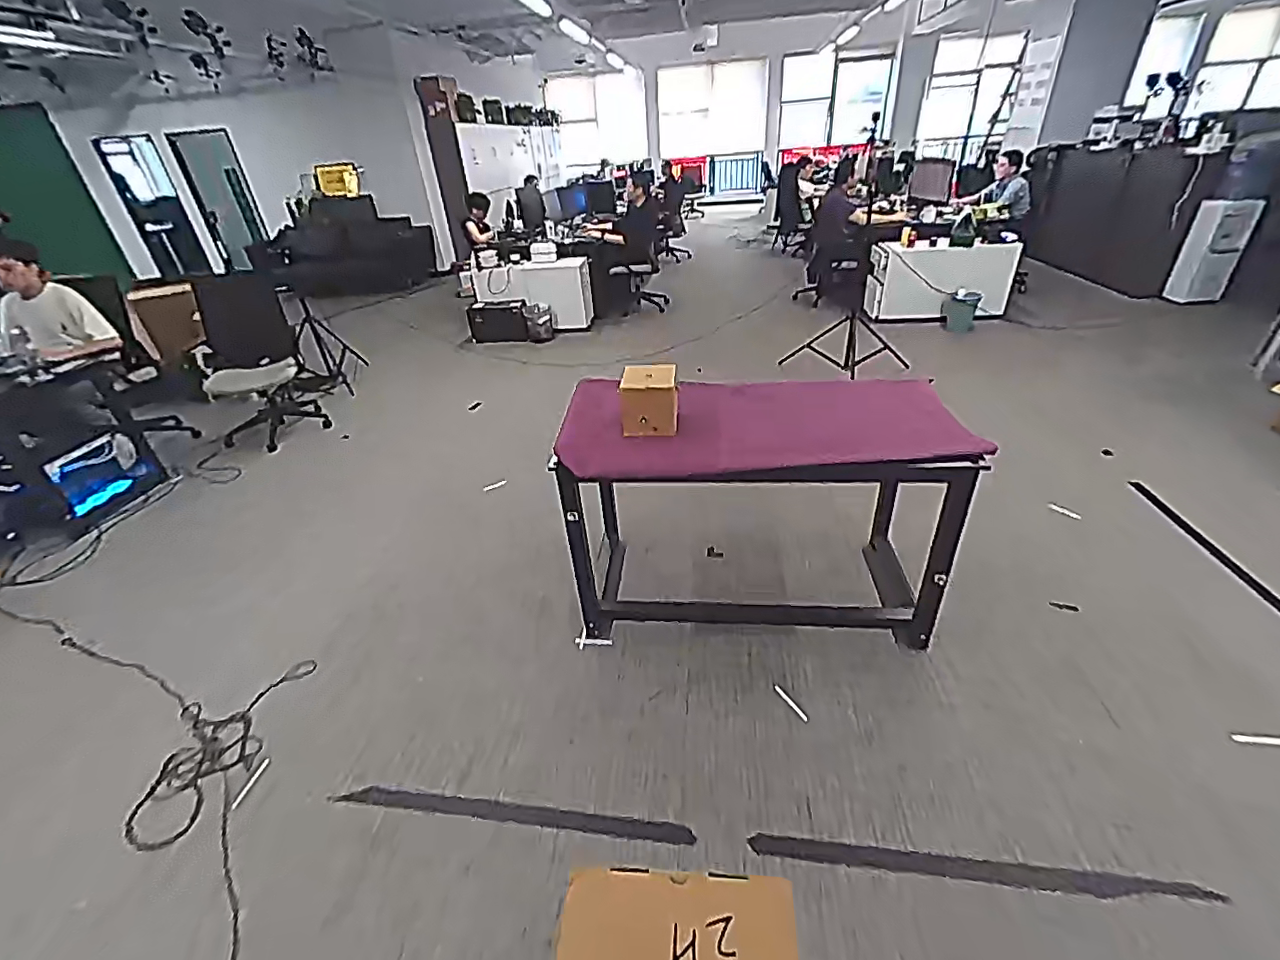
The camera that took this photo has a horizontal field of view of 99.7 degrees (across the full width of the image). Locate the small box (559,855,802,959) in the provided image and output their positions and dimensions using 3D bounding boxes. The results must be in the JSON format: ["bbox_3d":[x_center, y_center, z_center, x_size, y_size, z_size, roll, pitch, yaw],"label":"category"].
[{"bbox_3d":[0.029,0.403,0.387,0.168,0.176,0.179,0,38,5],"label":"small box"}]

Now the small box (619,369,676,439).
[{"bbox_3d":[0.029,-0.244,1.727,0.168,0.176,0.179,0,33,6],"label":"small box"}]
